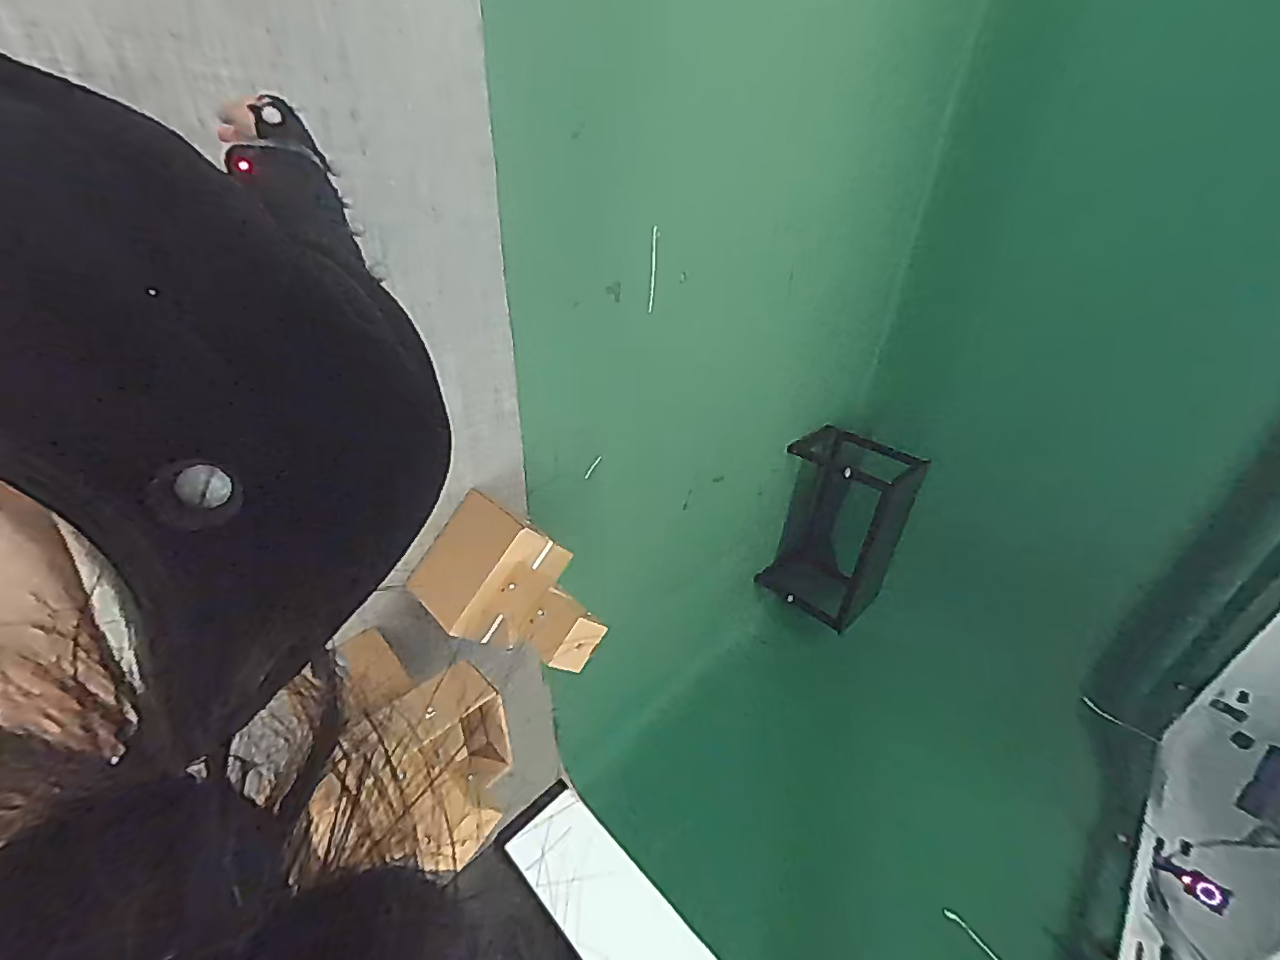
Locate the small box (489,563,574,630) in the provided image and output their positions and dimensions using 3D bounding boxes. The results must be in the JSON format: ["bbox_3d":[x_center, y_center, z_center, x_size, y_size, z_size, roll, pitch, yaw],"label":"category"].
[{"bbox_3d":[-0.352,0.396,1.766,0.168,0.176,0.179,-54,144,-9],"label":"small box"}]

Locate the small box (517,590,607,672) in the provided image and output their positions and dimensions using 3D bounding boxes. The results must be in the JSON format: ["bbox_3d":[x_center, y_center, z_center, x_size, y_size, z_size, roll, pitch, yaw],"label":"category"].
[{"bbox_3d":[-0.241,0.463,1.666,0.168,0.176,0.179,-56,144,-8],"label":"small box"}]

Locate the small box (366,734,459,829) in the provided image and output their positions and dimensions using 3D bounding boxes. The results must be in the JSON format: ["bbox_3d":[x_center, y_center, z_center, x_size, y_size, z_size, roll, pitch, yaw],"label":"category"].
[{"bbox_3d":[-0.645,0.863,1.551,0.179,0.176,0.168,-50,142,-15],"label":"small box"}]

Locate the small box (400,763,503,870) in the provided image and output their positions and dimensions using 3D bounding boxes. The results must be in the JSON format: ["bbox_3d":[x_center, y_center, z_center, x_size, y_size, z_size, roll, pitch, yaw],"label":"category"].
[{"bbox_3d":[-0.515,0.907,1.457,0.179,0.176,0.168,-50,144,-16],"label":"small box"}]
